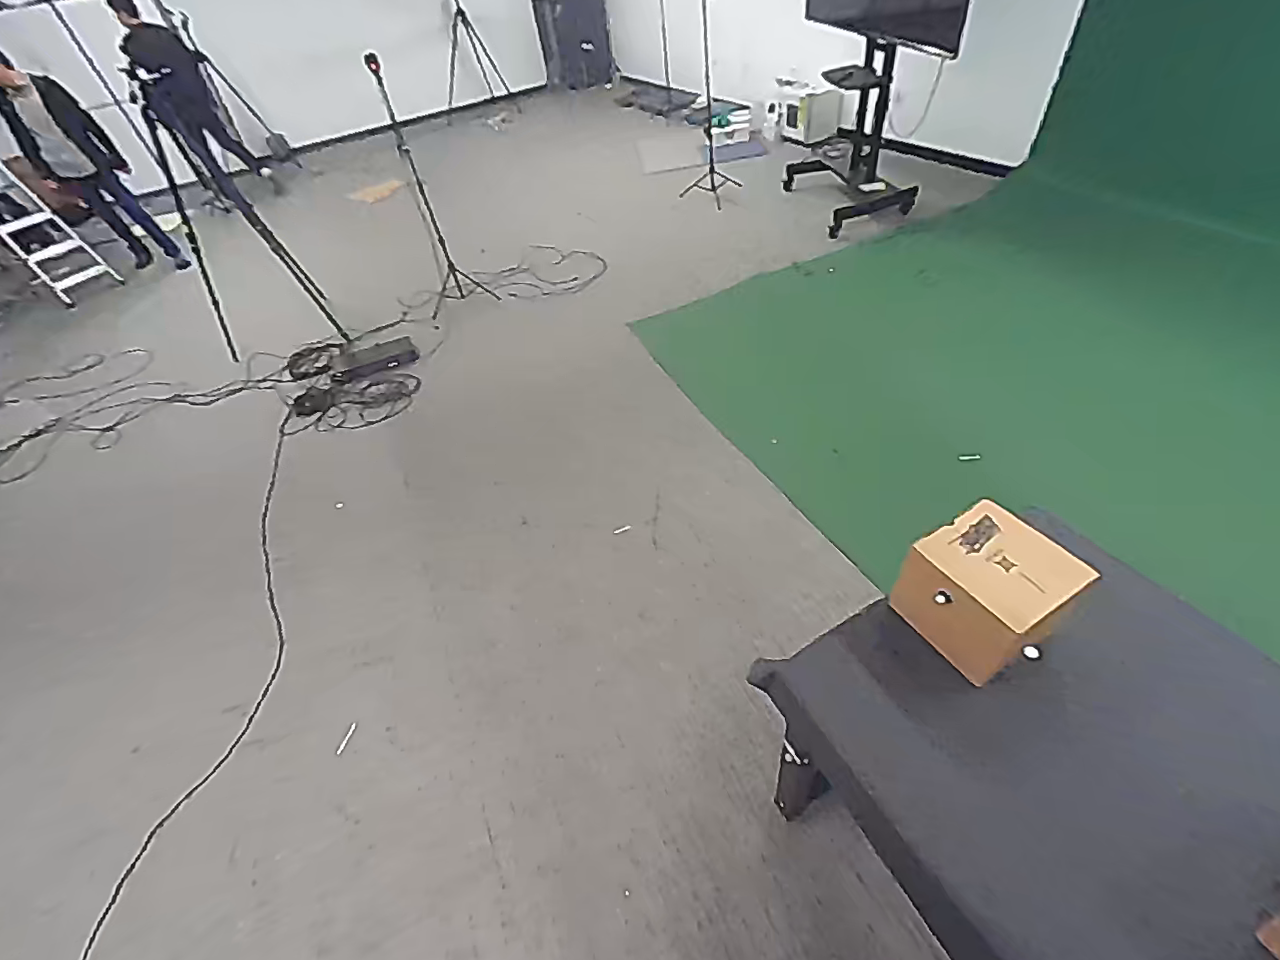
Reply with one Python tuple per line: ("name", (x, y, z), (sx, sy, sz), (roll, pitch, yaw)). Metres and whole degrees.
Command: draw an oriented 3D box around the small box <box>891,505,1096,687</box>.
("small box", (0.521, 0.177, 0.828), (0.168, 0.176, 0.179), (-26, 48, -18))
